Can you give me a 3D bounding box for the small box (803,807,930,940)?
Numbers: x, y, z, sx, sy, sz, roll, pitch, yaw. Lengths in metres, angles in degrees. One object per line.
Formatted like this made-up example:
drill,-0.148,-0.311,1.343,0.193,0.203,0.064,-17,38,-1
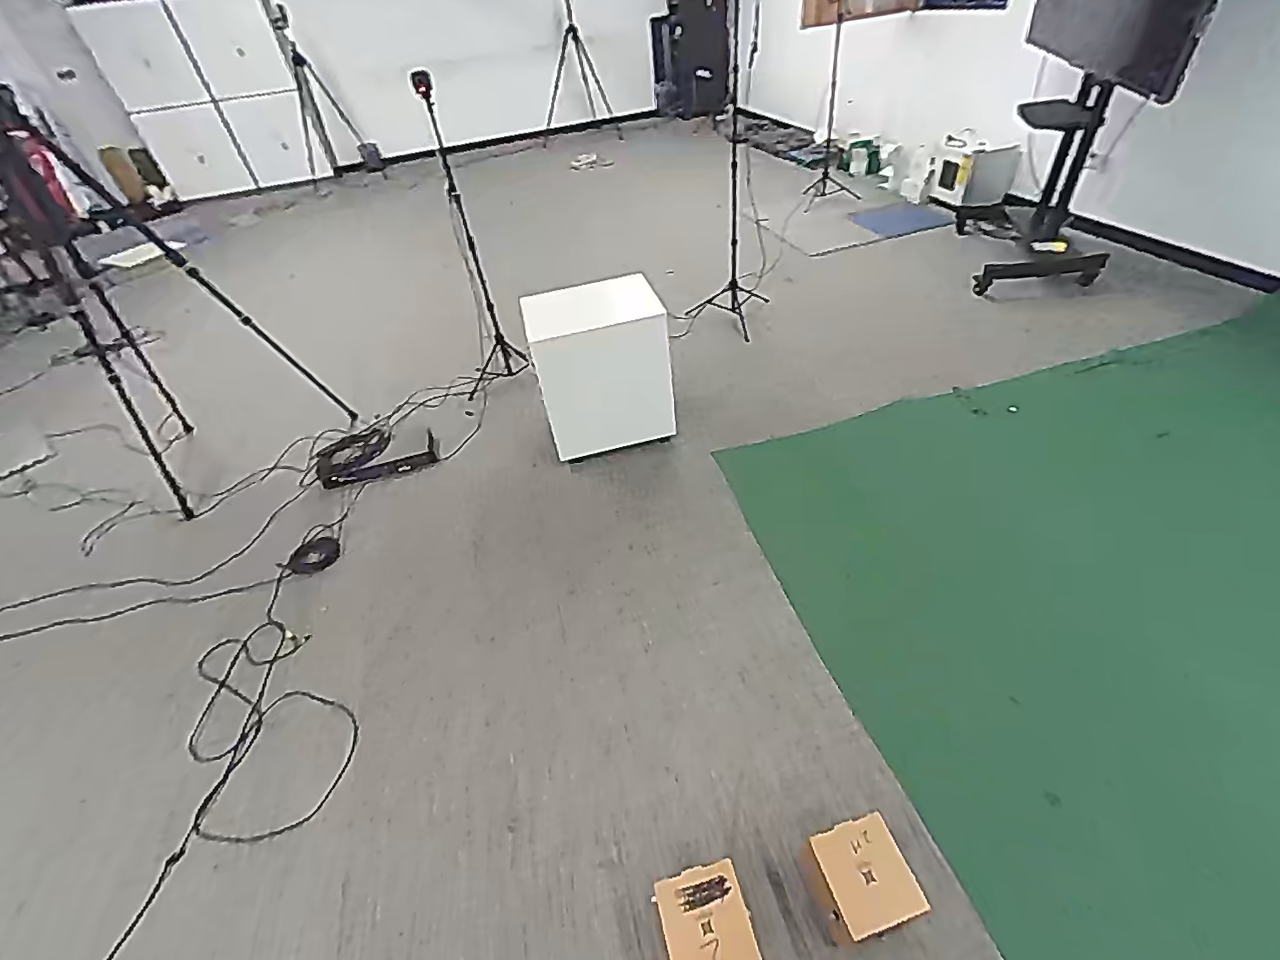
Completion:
small box,0.457,0.820,1.122,0.168,0.176,0.179,-14,44,-8
